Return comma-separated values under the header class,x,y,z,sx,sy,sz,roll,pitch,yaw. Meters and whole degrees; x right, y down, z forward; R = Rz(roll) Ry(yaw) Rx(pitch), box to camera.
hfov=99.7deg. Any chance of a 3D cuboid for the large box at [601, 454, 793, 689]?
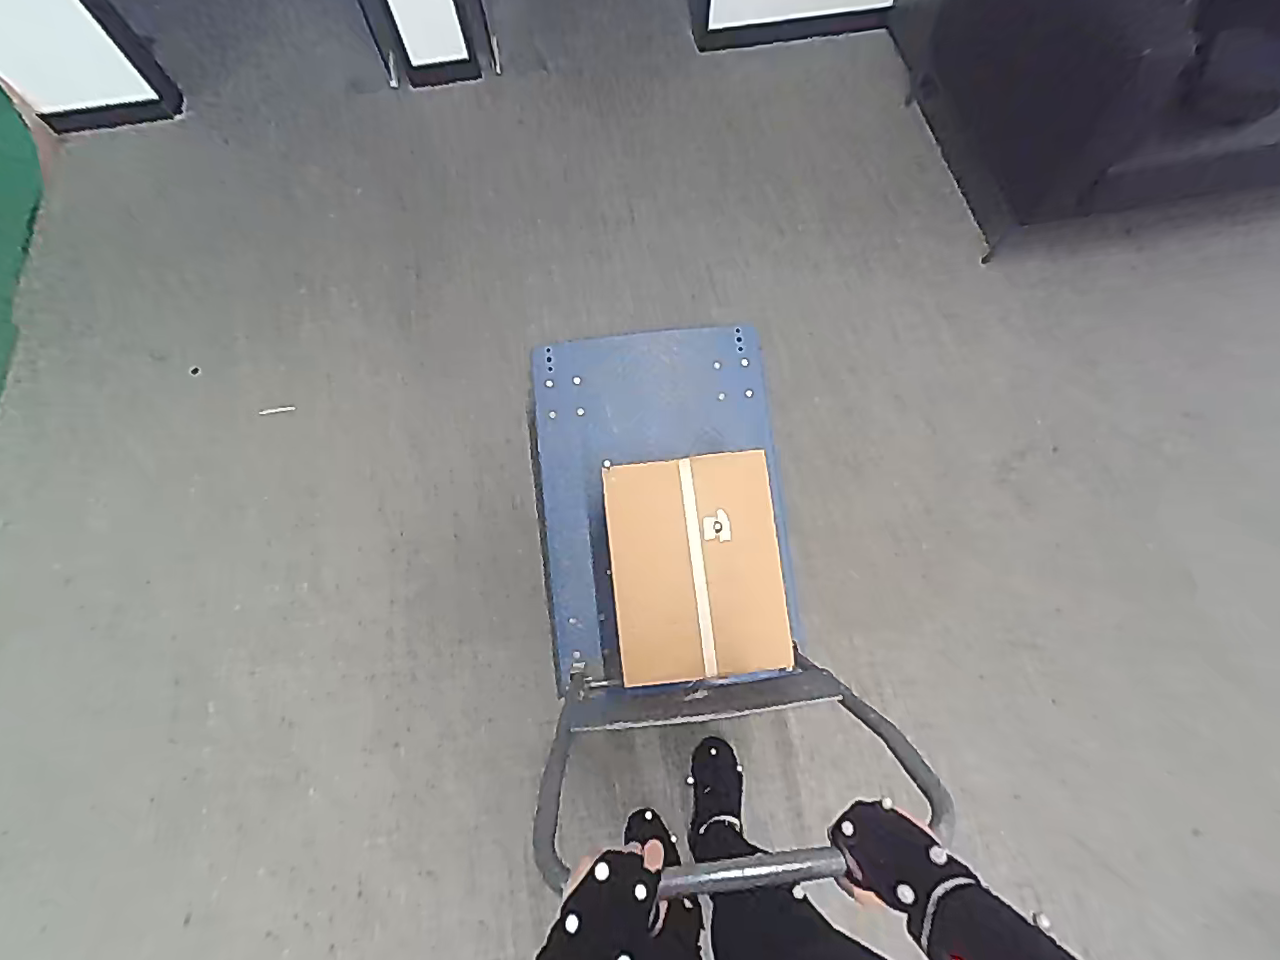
class,x,y,z,sx,sy,sz,roll,pitch,yaw
large box,0.101,0.184,1.148,0.320,0.320,0.408,-7,83,-3
